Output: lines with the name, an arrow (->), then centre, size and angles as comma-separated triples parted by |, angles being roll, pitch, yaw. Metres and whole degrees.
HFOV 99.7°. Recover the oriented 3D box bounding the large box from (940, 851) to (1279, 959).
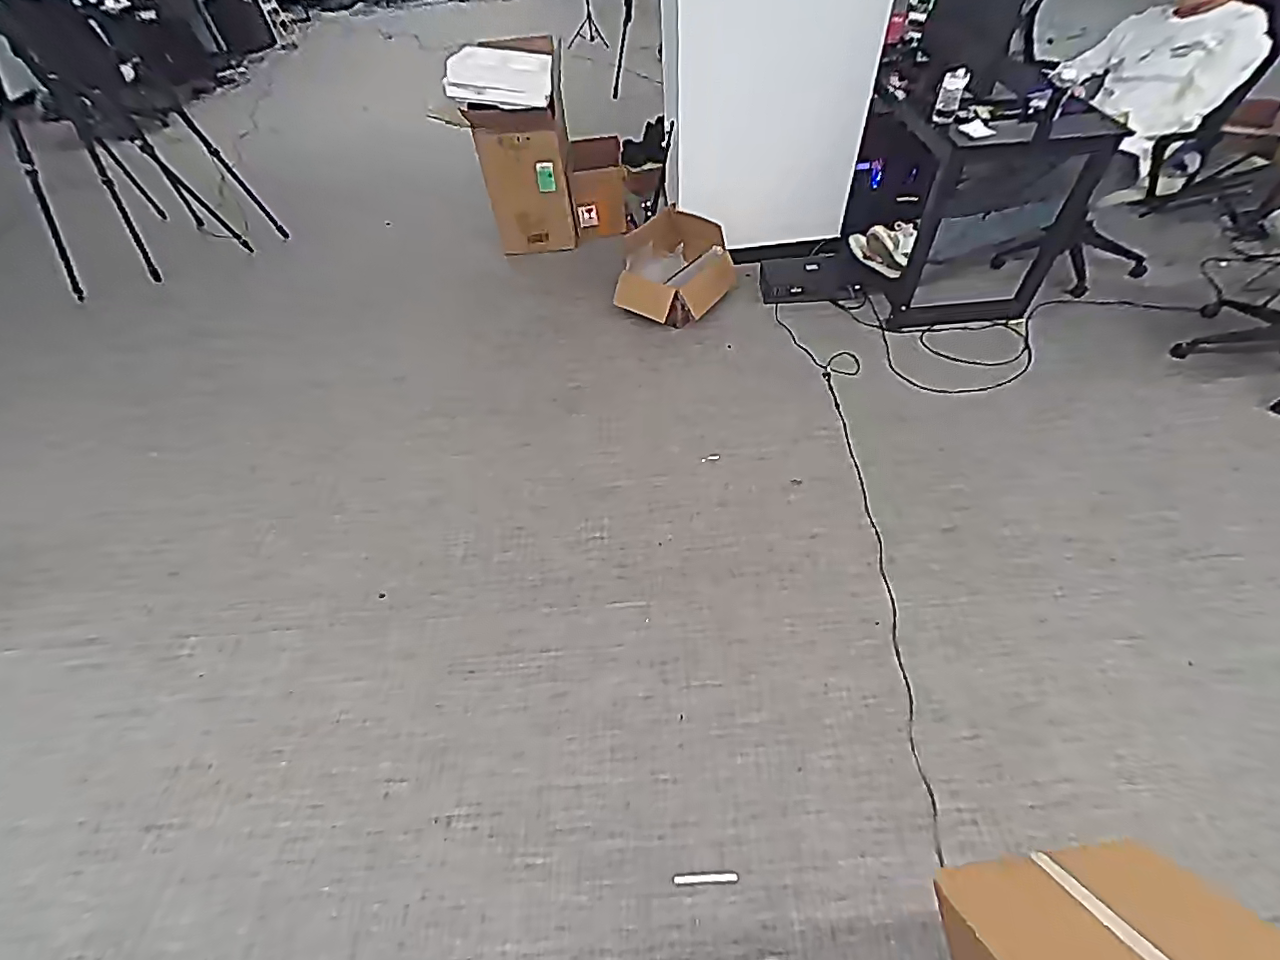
large box -> 0.610, 0.699, 0.591 | 0.320, 0.408, 0.320 | -11, 84, 2
